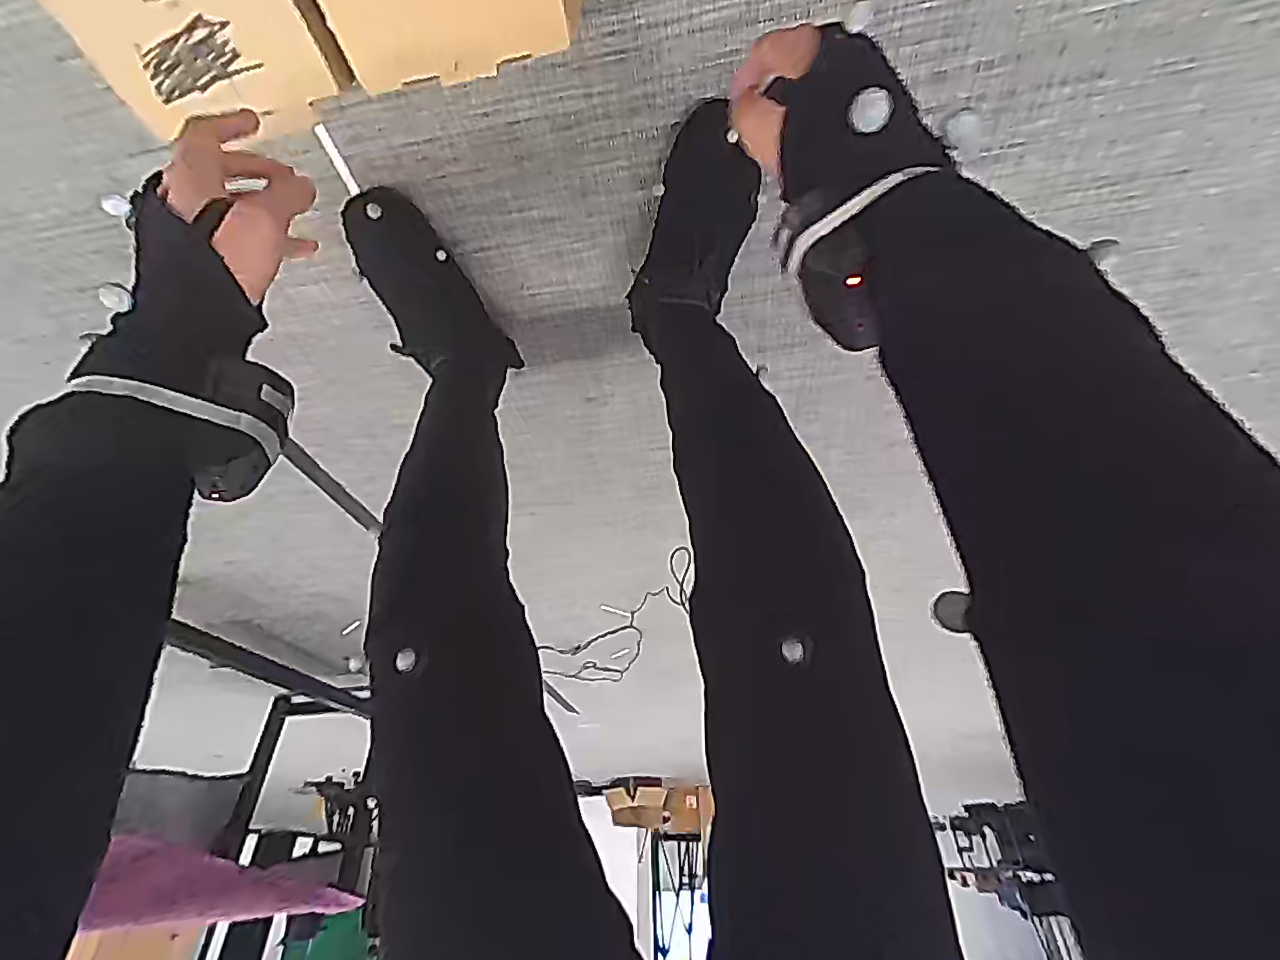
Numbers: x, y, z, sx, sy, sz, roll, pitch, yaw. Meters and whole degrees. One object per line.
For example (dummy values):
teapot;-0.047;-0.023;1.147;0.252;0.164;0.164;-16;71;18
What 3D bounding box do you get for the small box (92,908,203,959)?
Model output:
small box;-1.446;1.366;1.584;0.179;0.176;0.168;-7;144;9
